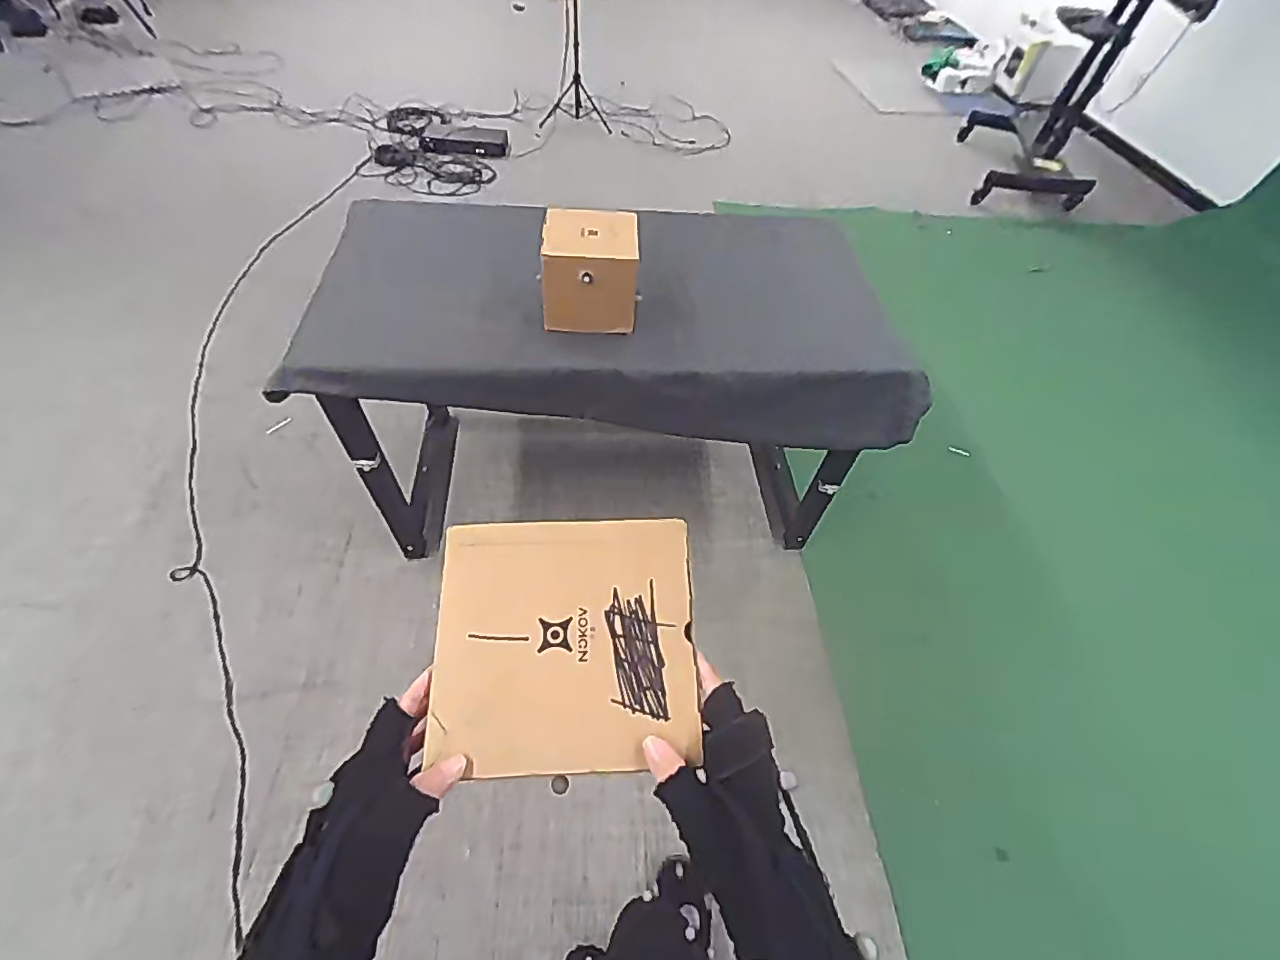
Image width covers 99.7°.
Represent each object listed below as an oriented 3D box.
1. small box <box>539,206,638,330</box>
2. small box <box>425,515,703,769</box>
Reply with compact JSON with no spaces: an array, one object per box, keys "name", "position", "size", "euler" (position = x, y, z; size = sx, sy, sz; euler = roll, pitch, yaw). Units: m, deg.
[{"name":"small box","position":[-0.097,-0.411,1.059],"size":[0.179,0.176,0.168],"euler":[0,54,-5]},{"name":"small box","position":[-0.054,0.134,0.442],"size":[0.179,0.176,0.168],"euler":[-2,65,-3]}]
